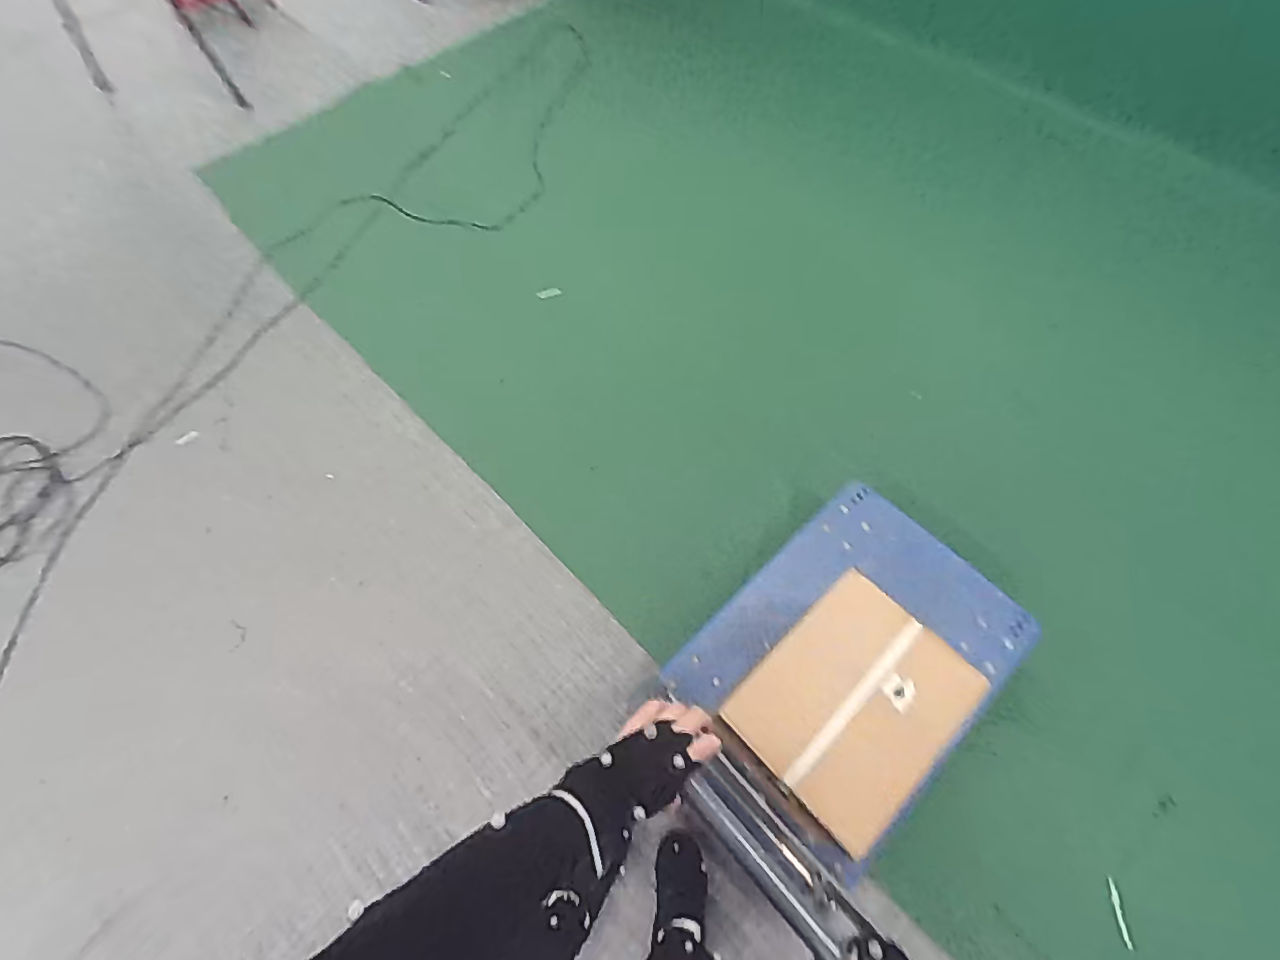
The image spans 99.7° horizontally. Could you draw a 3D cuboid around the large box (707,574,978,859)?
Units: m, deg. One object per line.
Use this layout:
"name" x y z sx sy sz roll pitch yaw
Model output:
"large box" 0.391 0.480 1.131 0.408 0.320 0.320 -40 69 -18
